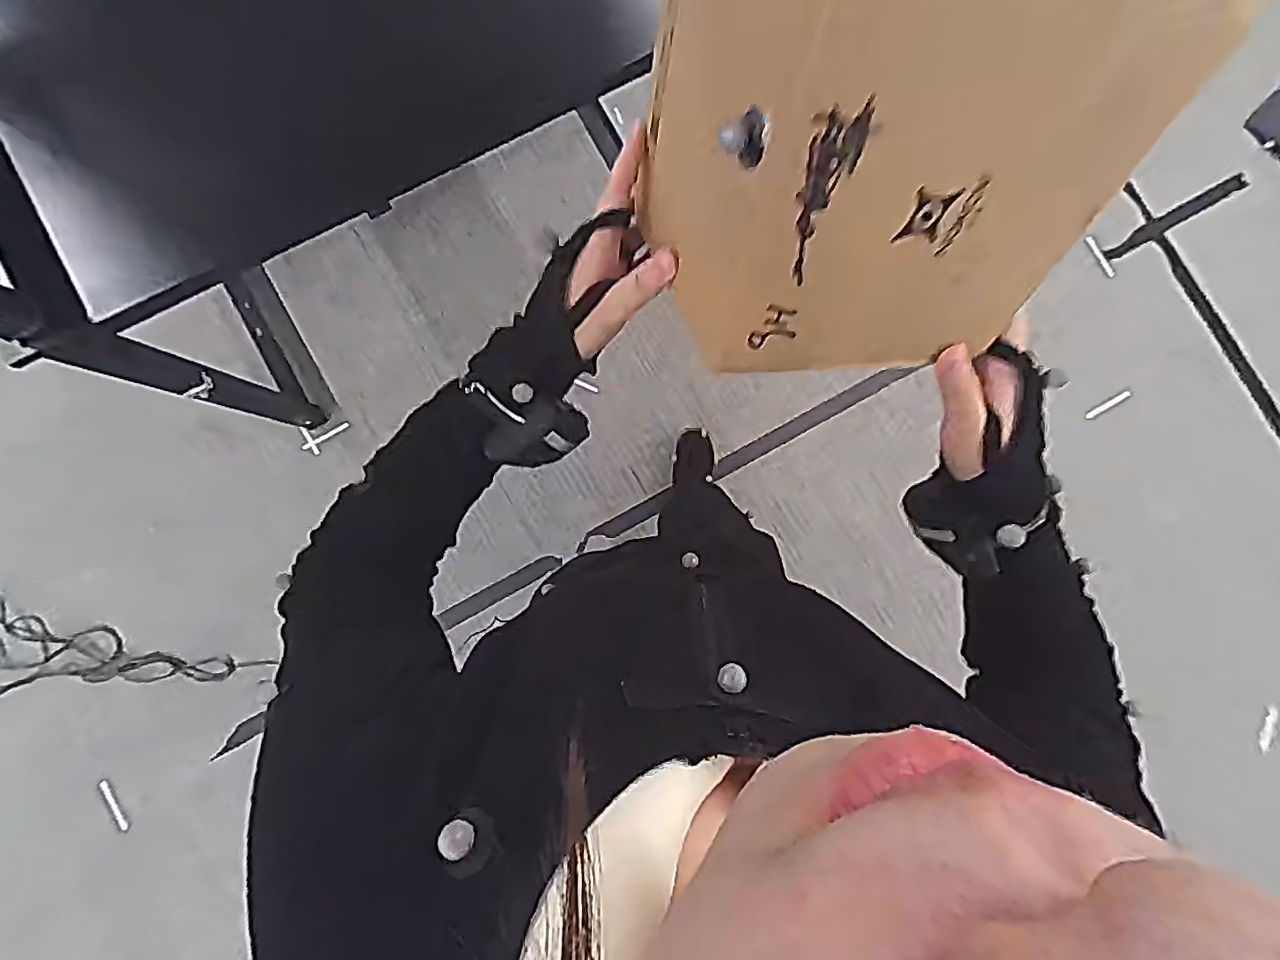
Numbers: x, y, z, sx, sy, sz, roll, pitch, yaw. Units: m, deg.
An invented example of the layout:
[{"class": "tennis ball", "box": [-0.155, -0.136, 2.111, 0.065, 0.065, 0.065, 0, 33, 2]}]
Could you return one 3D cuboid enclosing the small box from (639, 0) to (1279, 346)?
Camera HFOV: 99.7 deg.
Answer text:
[{"class": "small box", "box": [0.114, -0.185, 0.260, 0.179, 0.168, 0.176, -6, 52, -16]}]
